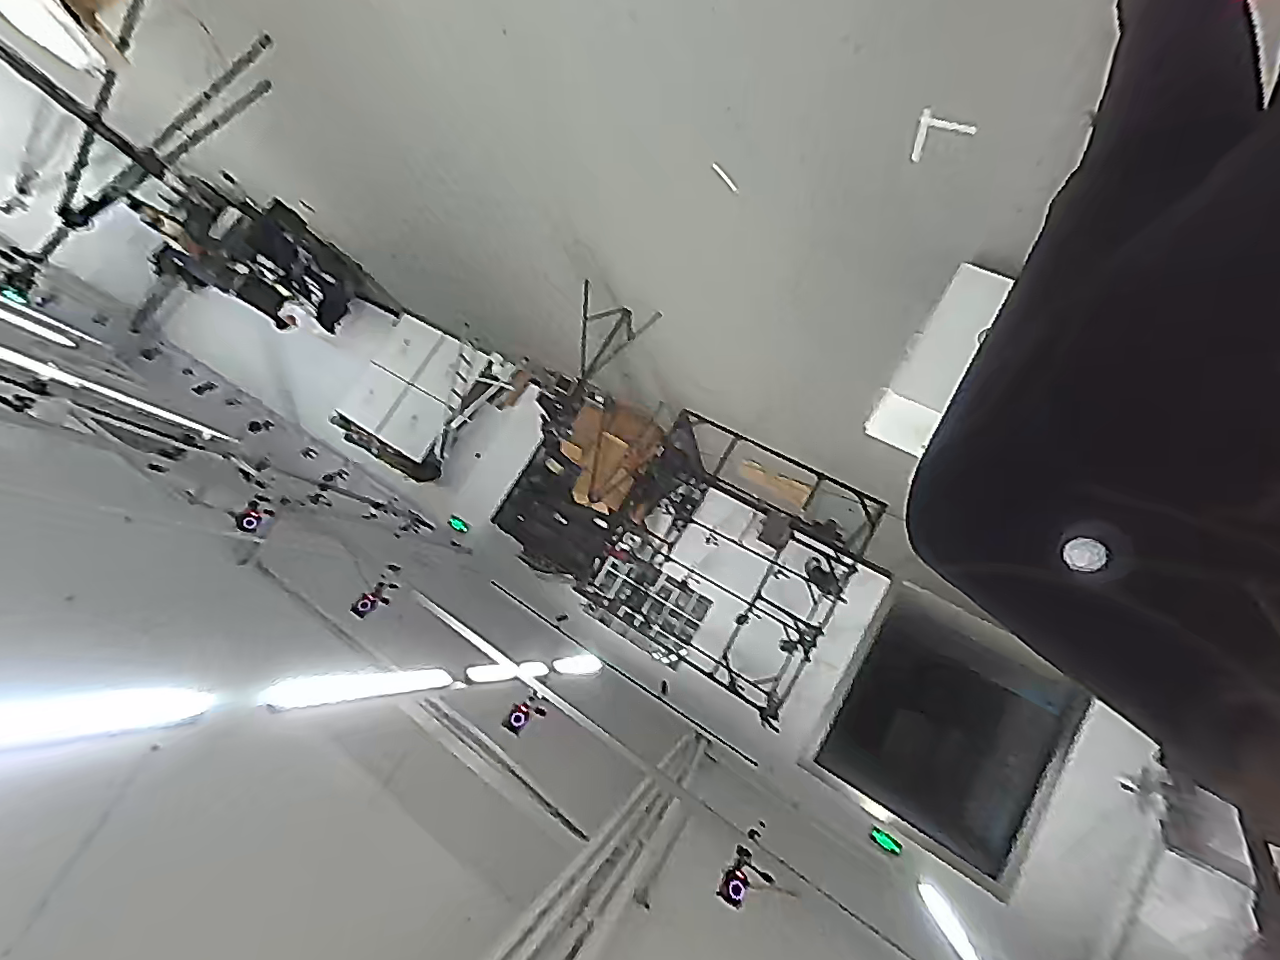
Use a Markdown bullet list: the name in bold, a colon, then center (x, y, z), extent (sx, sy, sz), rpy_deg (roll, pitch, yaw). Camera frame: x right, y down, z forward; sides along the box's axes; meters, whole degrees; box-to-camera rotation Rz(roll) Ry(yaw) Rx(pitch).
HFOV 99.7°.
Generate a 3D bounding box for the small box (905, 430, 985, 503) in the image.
- **small box**: center (1.060, -0.048, 1.882), extent (0.179, 0.176, 0.168), rpy_deg (29, 171, 23)
